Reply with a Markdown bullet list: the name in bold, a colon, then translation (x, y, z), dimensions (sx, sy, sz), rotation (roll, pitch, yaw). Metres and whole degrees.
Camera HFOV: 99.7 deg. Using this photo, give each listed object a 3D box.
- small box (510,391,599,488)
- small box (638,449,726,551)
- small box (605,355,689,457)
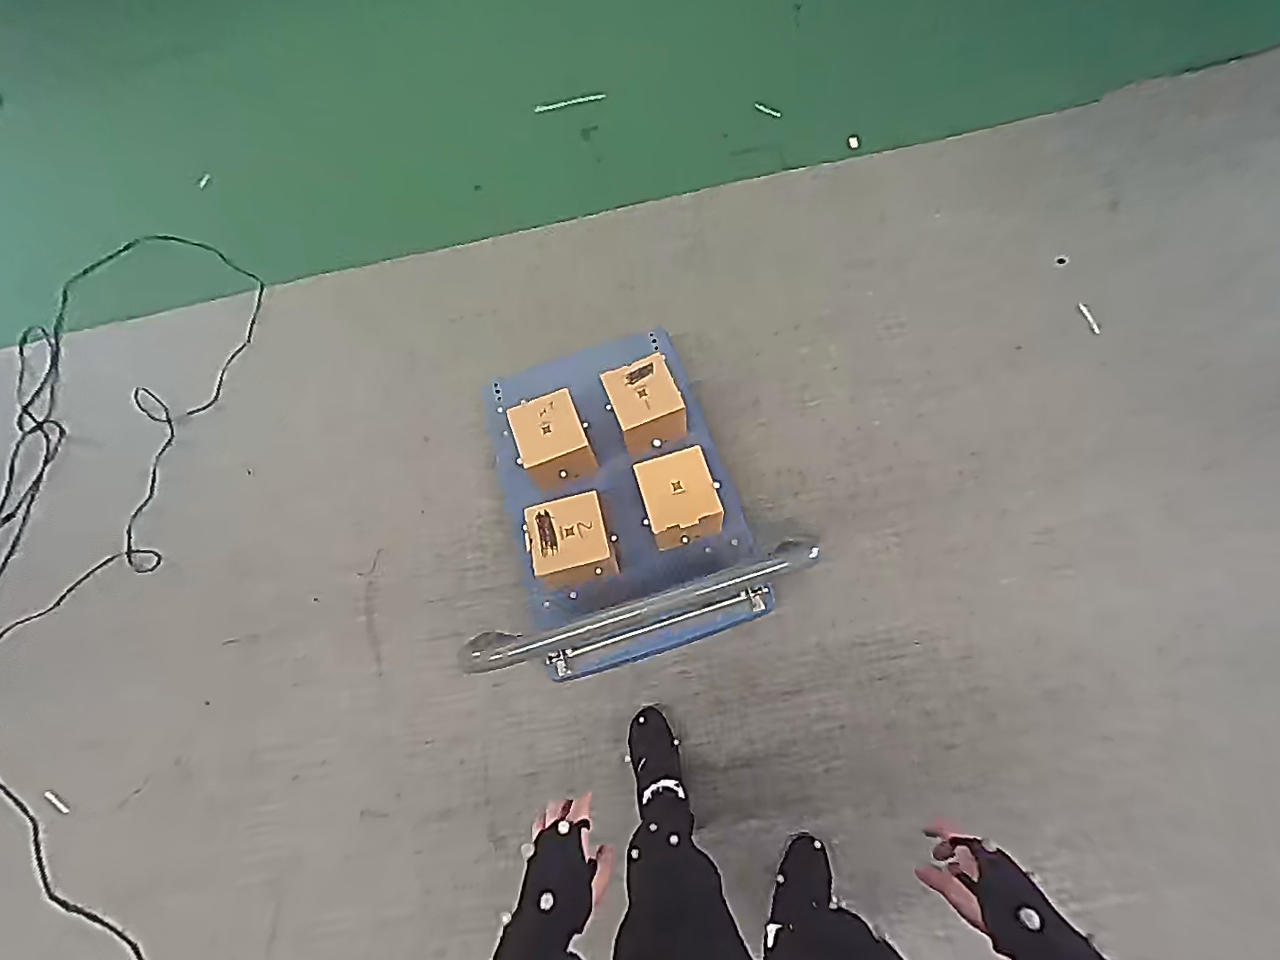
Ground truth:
- **small box**: translation (-0.214, -0.094, 1.394), dimensions (0.168, 0.176, 0.179), rotation (-20, 68, -3)
- **small box**: translation (0.099, 0.053, 1.306), dimensions (0.168, 0.176, 0.179), rotation (-17, 68, -1)
- **small box**: translation (0.020, -0.186, 1.405), dimensions (0.168, 0.176, 0.179), rotation (-21, 69, -2)
